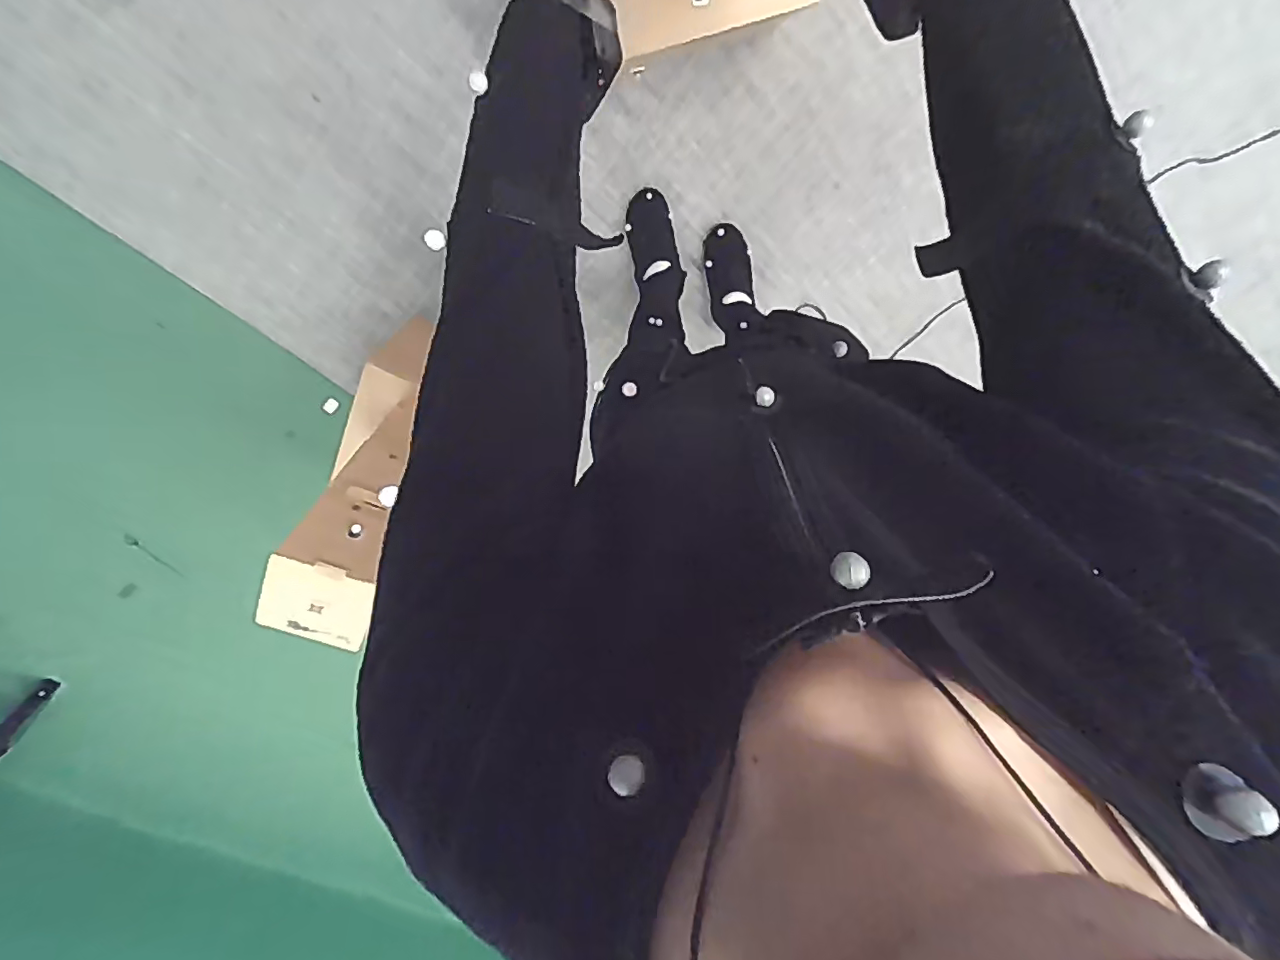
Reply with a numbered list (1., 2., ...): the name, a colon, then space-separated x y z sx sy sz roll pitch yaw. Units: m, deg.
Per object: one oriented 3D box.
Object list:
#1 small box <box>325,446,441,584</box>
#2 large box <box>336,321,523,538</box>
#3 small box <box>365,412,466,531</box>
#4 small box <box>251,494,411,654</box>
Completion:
1. small box: -0.506 0.062 1.050 0.168 0.176 0.179 24 120 -16
2. large box: -0.538 -0.133 1.409 0.320 0.320 0.408 26 121 -15
3. small box: -0.506 -0.024 1.189 0.179 0.176 0.168 26 119 -16
4. small box: -0.509 0.153 0.913 0.168 0.176 0.179 25 118 -16
